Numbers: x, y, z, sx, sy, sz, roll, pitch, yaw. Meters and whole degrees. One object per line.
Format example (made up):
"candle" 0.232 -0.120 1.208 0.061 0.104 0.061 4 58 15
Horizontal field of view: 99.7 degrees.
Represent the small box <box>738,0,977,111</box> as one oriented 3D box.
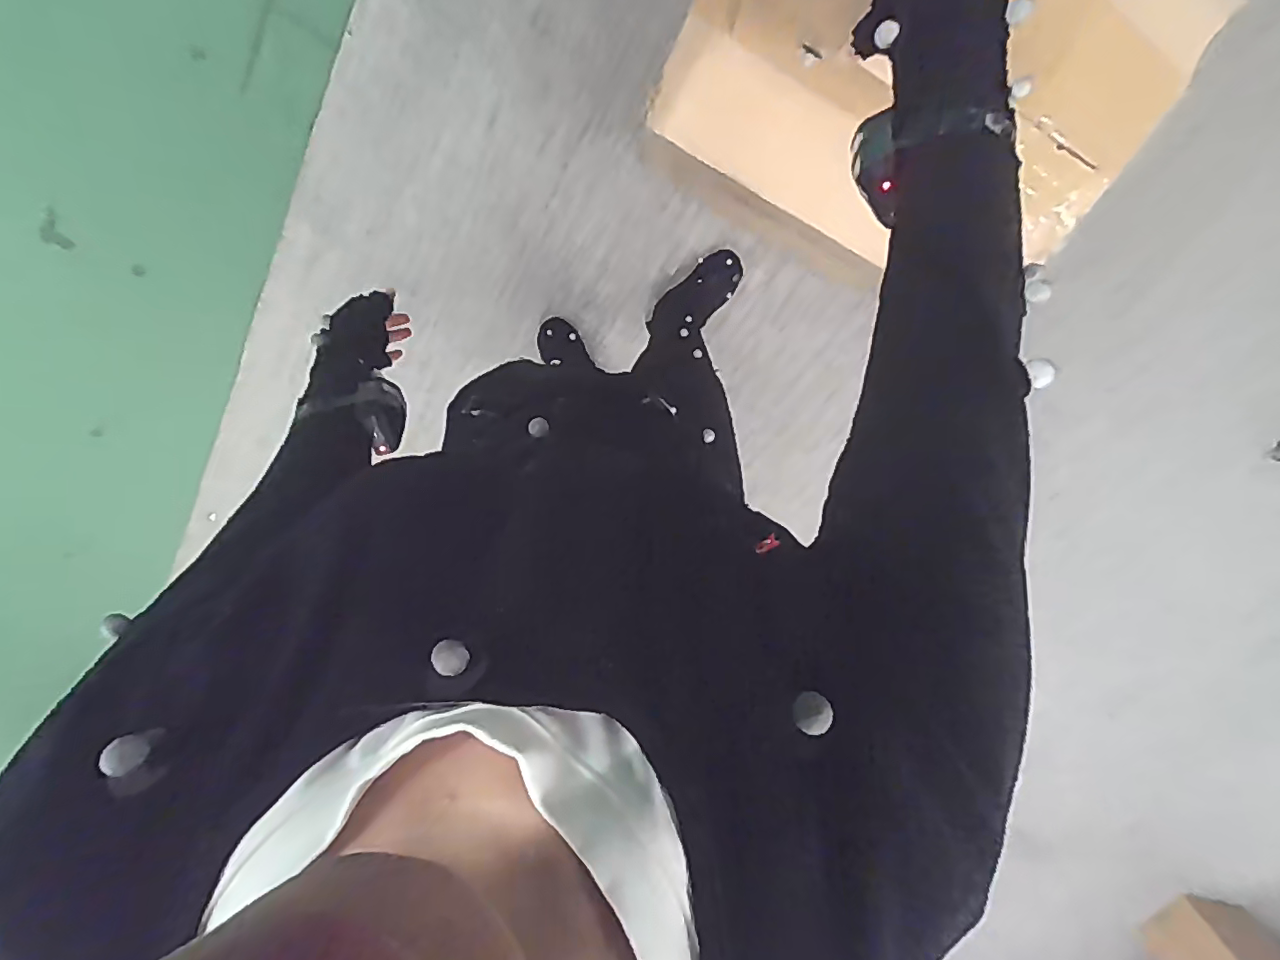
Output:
"small box" 0.209 -0.476 0.503 0.179 0.176 0.168 25 118 -11
